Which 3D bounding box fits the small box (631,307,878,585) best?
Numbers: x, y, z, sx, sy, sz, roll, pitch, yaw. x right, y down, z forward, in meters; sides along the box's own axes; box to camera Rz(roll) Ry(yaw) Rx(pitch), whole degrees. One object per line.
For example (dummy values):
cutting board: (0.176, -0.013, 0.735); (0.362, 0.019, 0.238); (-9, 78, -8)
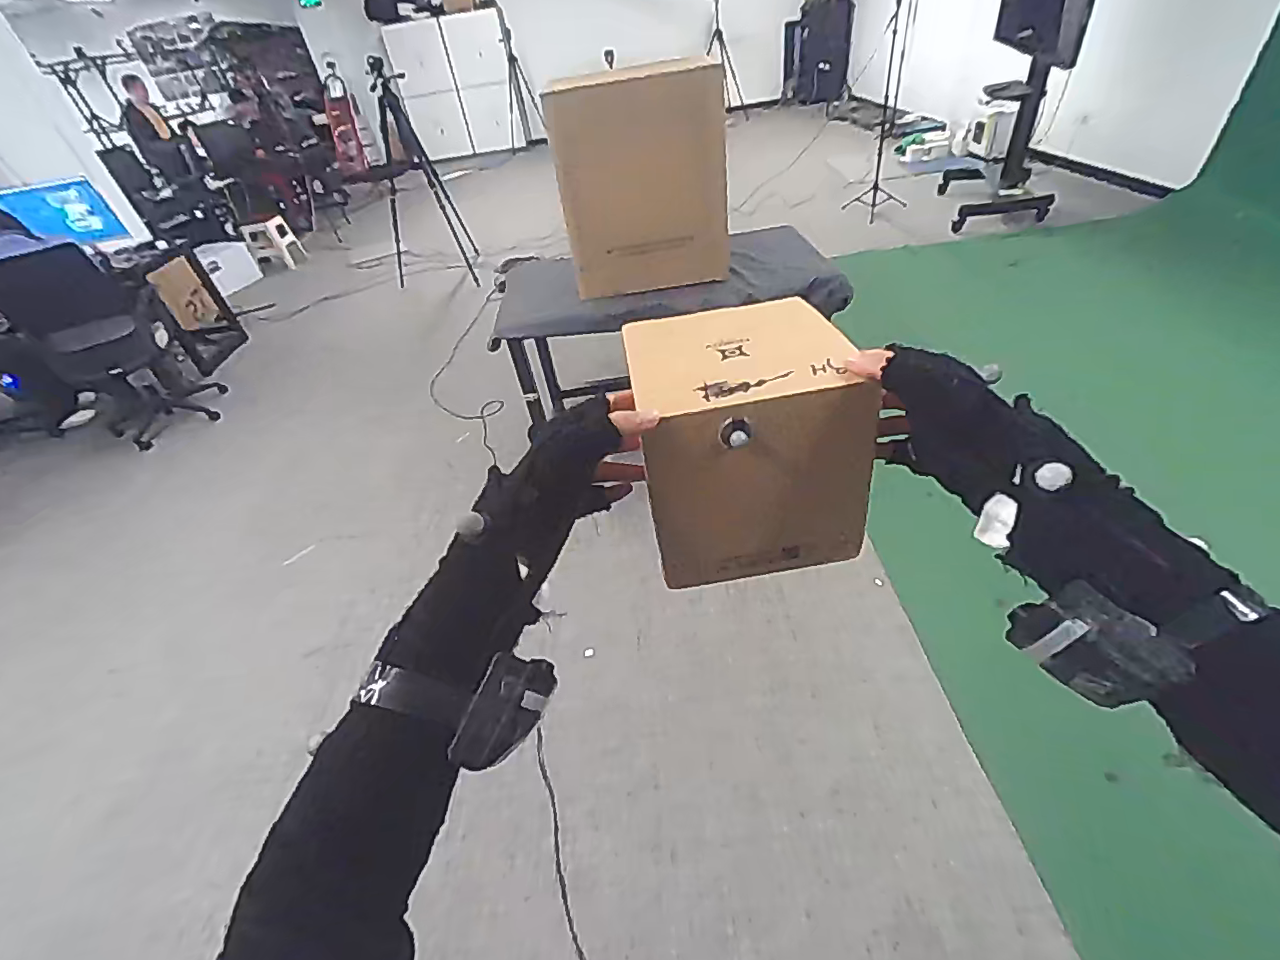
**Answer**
small box: (0.088, -0.035, 0.481); (0.168, 0.176, 0.179); (-11, 35, 2)
